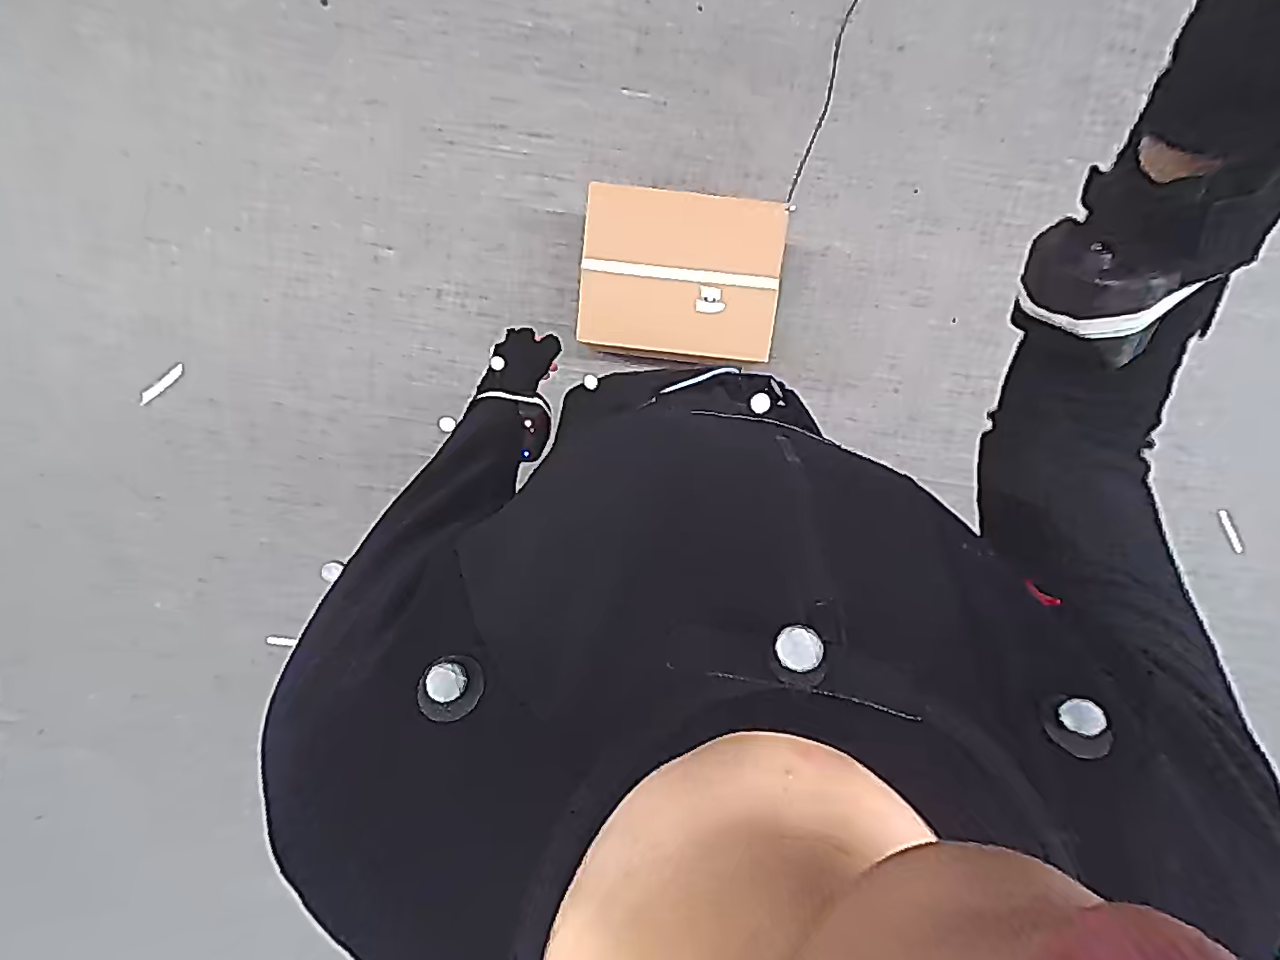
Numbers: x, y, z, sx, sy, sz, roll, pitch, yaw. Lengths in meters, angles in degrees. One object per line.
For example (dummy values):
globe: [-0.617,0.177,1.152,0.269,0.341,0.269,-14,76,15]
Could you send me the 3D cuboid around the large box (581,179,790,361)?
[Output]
large box: [0.087,-0.457,1.252,0.408,0.320,0.320,7,101,-1]
